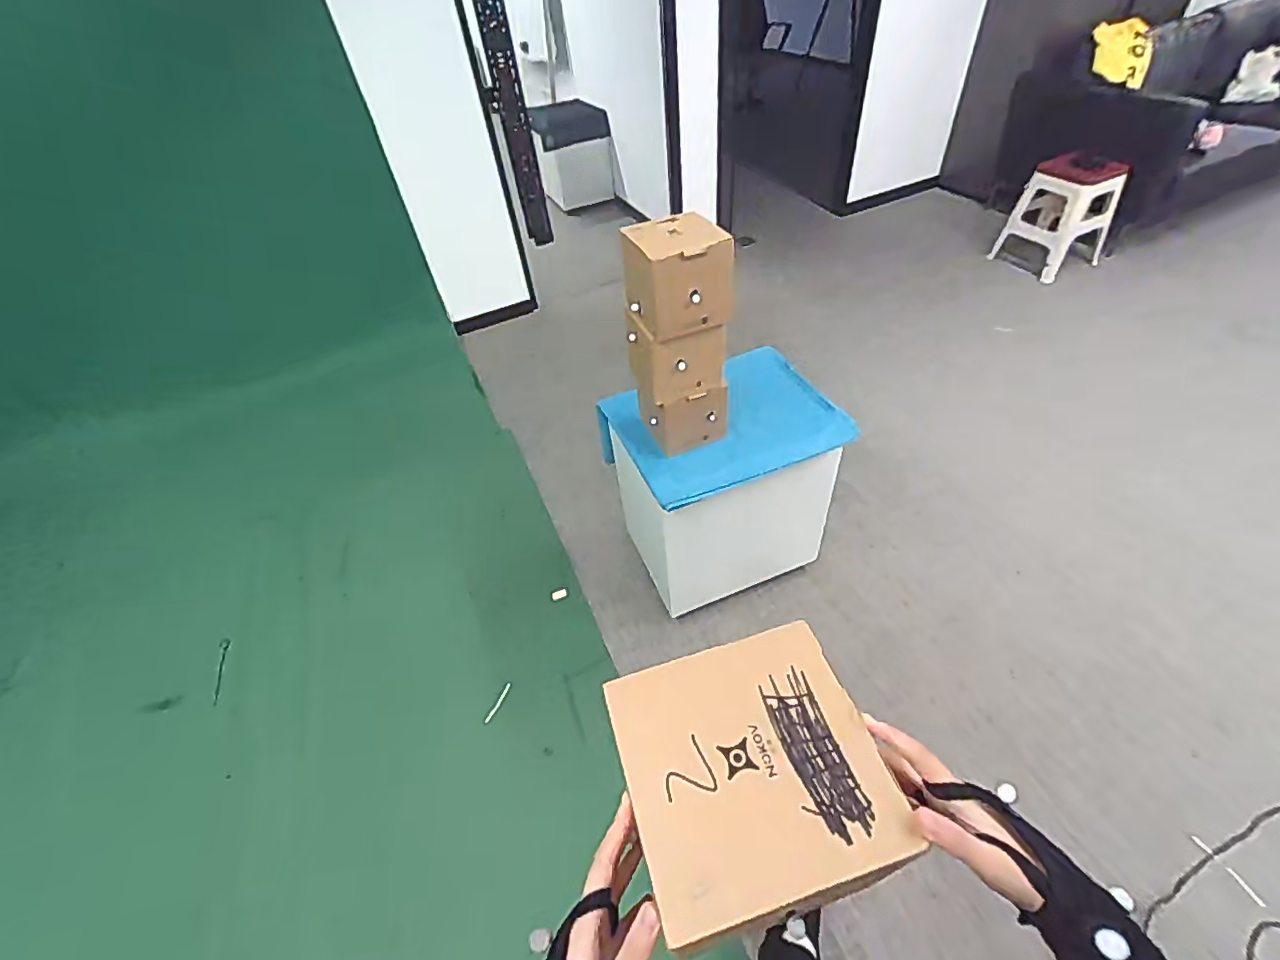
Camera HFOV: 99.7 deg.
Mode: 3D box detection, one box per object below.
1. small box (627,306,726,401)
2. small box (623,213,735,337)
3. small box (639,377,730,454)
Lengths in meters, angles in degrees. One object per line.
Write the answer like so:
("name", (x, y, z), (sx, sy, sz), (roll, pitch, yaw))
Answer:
("small box", (0.082, -0.293, 1.200), (0.168, 0.176, 0.179), (-18, 45, -11))
("small box", (0.077, -0.402, 1.078), (0.168, 0.176, 0.179), (-18, 46, -11))
("small box", (0.108, -0.183, 1.318), (0.168, 0.176, 0.179), (-19, 46, -12))
